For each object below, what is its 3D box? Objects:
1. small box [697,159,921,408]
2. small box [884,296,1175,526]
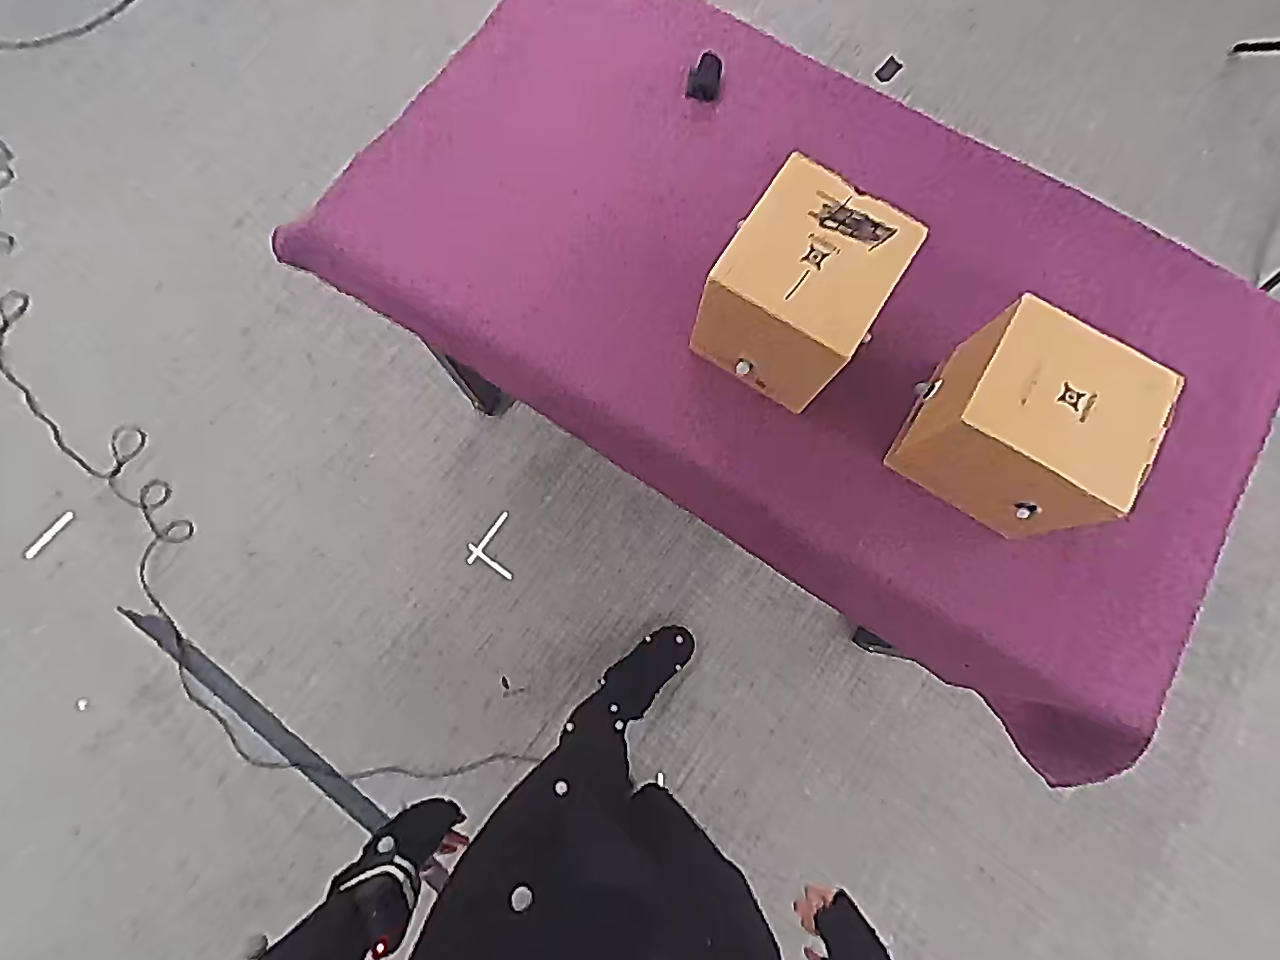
[{"bbox_3d":[0.181,-0.216,0.635,0.168,0.176,0.179,33,79,6],"label":"small box"},{"bbox_3d":[0.418,-0.062,0.610,0.179,0.176,0.168,31,77,7],"label":"small box"}]
